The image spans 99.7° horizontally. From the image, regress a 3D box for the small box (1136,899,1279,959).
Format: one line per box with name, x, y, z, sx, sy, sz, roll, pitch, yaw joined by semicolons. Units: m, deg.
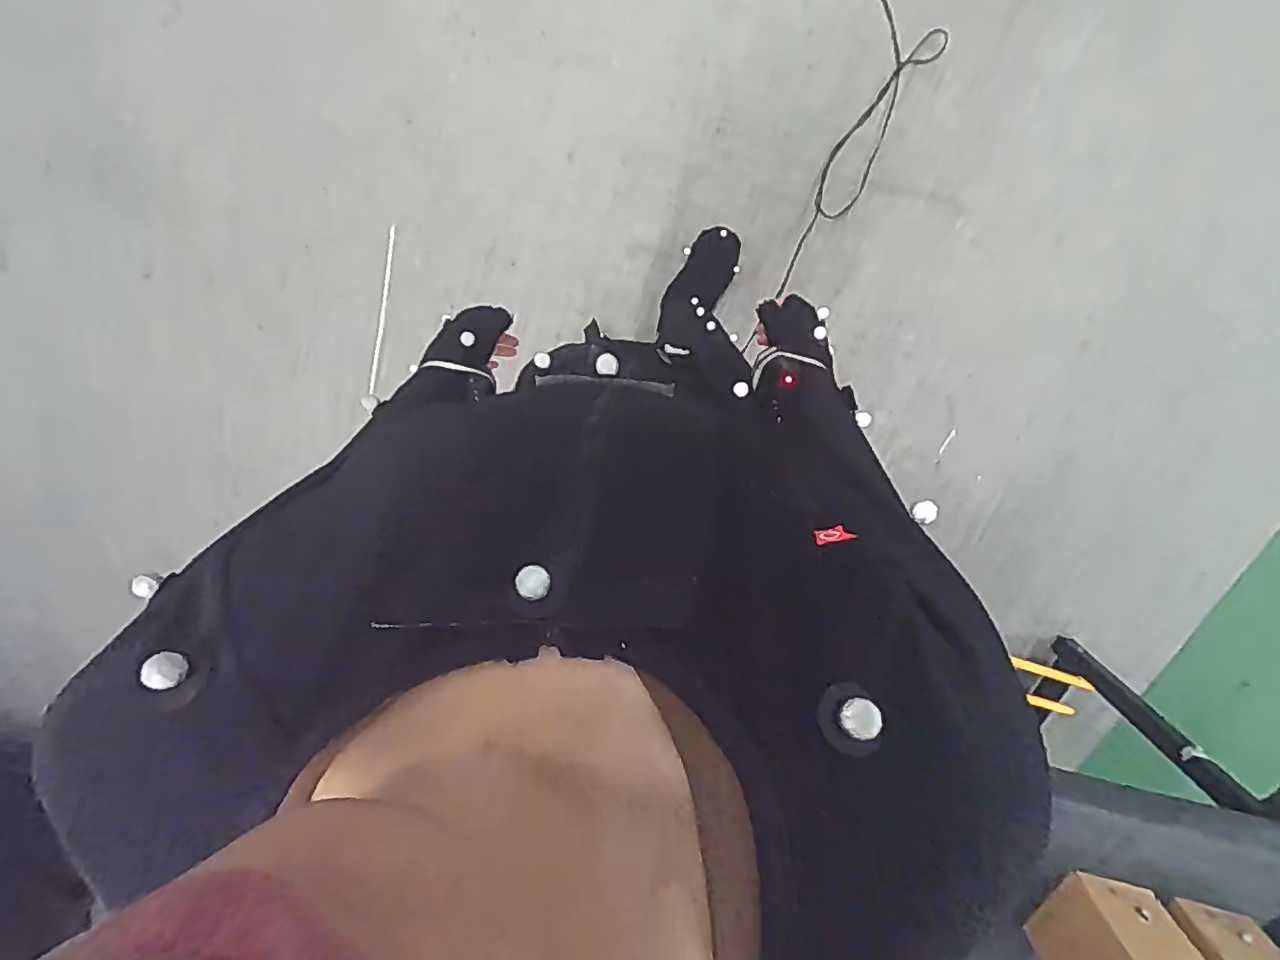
small box;1.039;0.891;0.947;0.168;0.176;0.179;17;111;-4
